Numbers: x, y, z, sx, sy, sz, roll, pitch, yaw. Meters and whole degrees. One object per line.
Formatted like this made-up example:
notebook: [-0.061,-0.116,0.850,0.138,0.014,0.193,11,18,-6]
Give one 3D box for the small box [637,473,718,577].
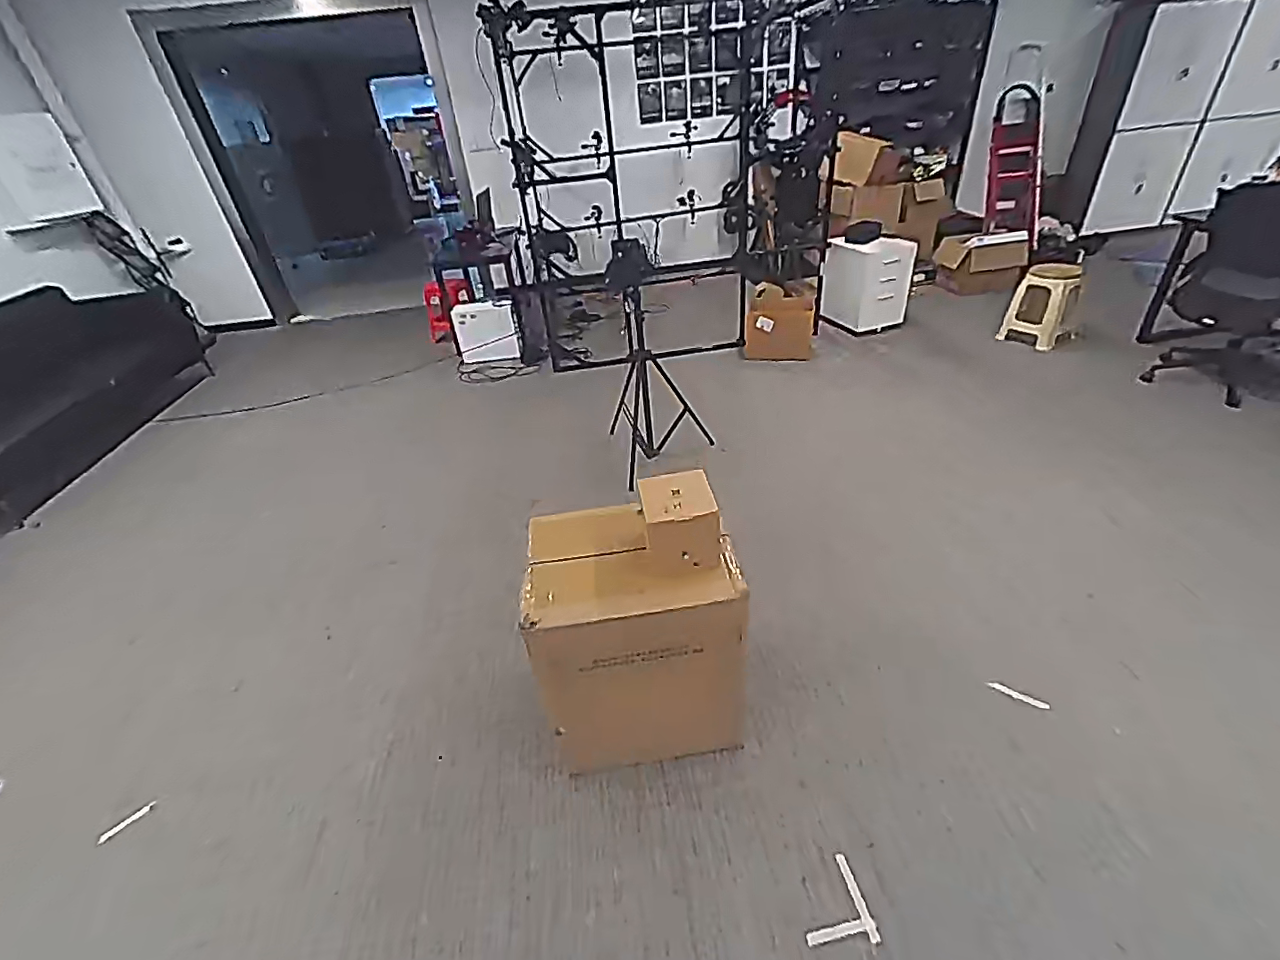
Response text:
small box: [0.088,0.107,1.305,0.168,0.176,0.179,-9,36,-2]
